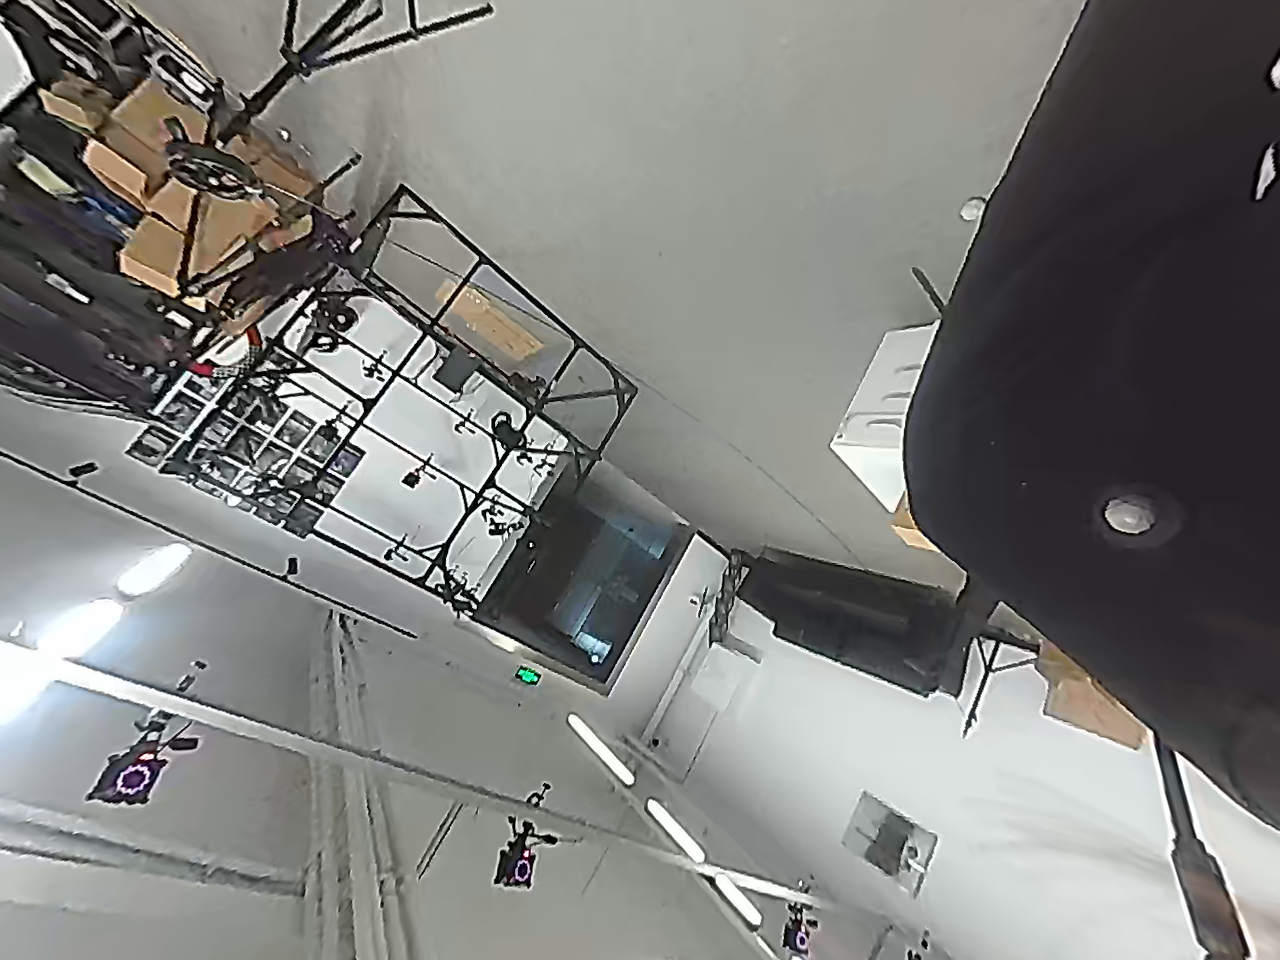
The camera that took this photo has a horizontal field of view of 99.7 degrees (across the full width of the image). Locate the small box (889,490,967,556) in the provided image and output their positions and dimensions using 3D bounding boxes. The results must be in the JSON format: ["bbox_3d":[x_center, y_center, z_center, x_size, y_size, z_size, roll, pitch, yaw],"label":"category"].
[{"bbox_3d":[1.059,0.151,1.984,0.168,0.176,0.179,38,166,-31],"label":"small box"}]
